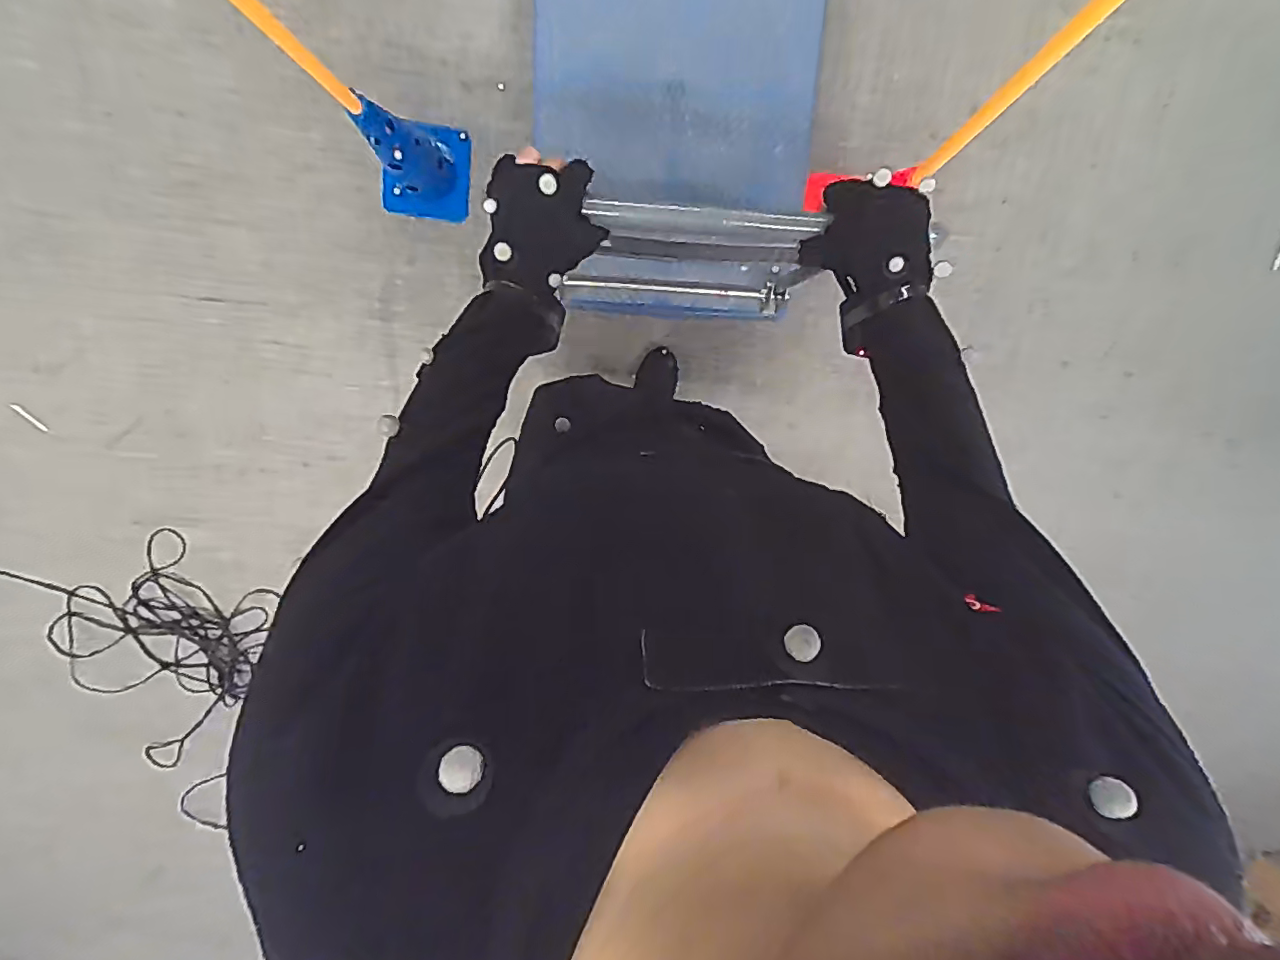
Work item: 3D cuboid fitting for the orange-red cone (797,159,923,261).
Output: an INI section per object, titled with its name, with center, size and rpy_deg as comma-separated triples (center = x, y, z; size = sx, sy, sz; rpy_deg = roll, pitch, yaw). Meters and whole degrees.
[orange-red cone]
center = 0.504, -0.618, 1.180
size = 0.199, 0.360, 0.198
rpy_deg = 6, 103, -3
